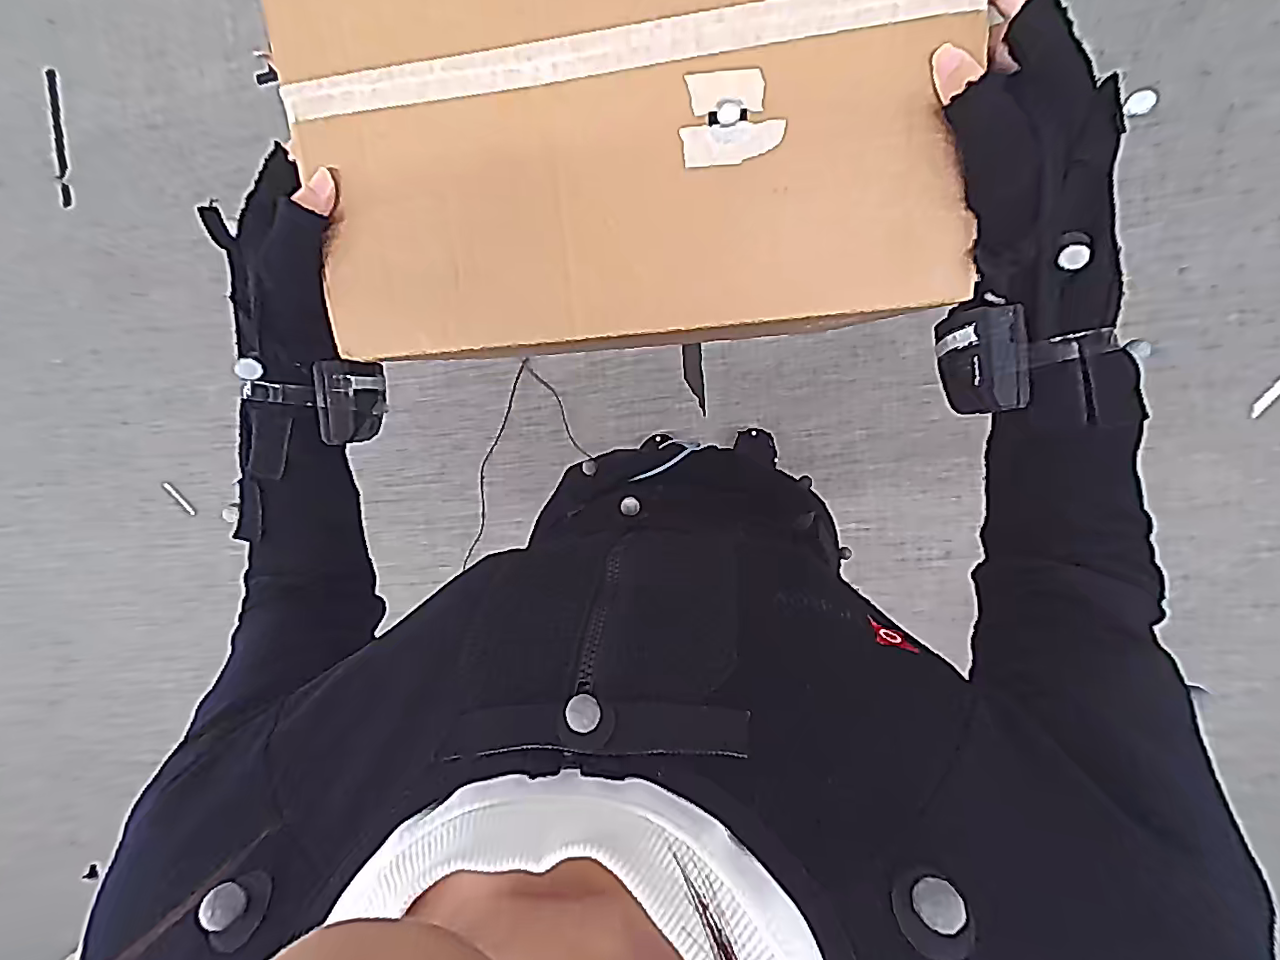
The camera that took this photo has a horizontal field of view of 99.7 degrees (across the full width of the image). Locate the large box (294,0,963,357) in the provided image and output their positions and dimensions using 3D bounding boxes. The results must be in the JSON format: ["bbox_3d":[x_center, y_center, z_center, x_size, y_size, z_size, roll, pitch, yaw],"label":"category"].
[{"bbox_3d":[-0.001,-0.285,0.471,0.408,0.320,0.320,-4,103,7],"label":"large box"}]
